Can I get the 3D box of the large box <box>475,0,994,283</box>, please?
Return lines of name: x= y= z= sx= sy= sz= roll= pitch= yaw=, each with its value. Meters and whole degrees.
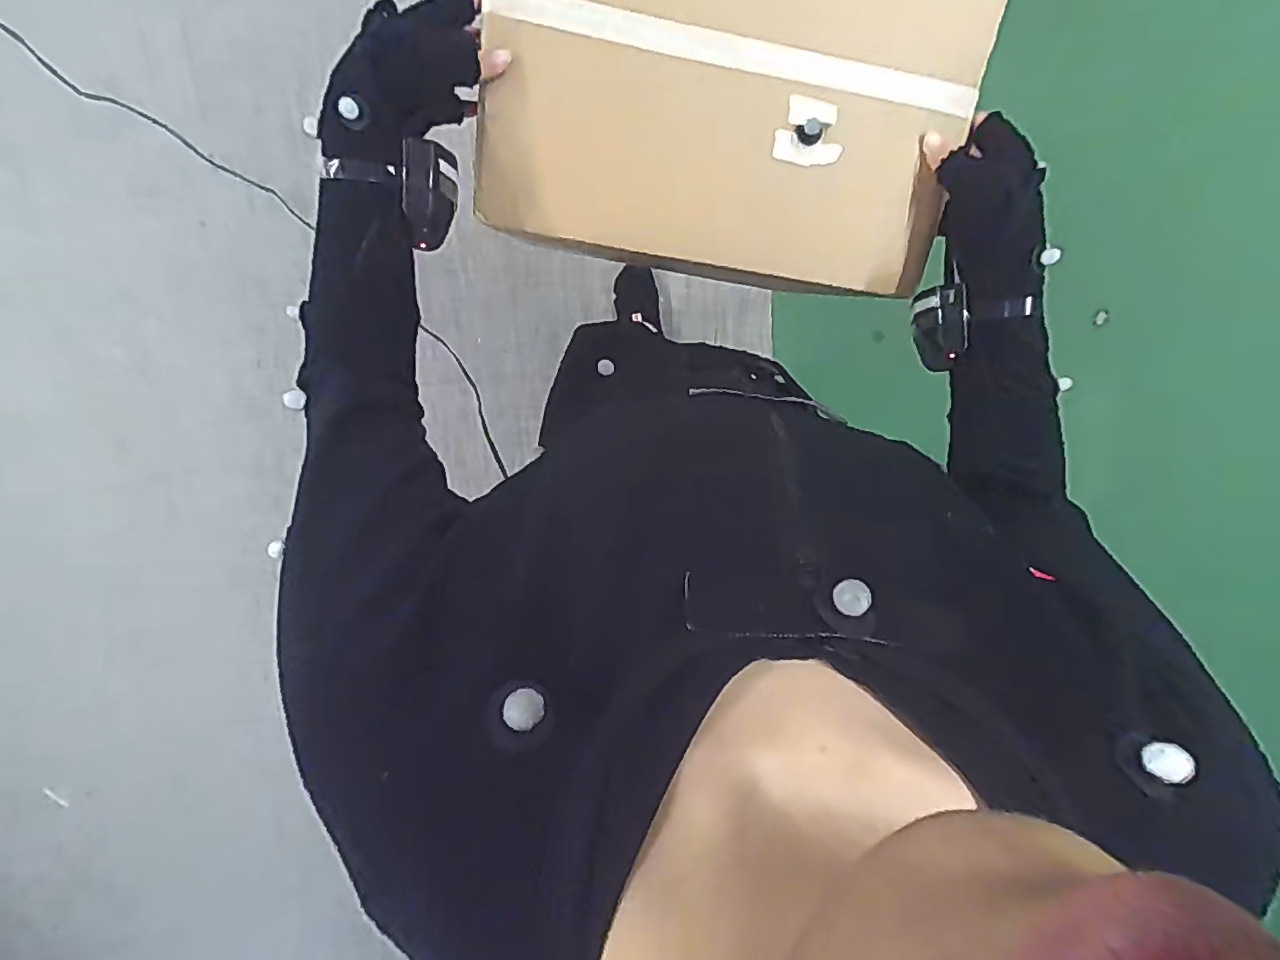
large box: x=0.064 y=-0.399 z=0.567 sx=0.408 sy=0.320 sz=0.320 roll=7 pitch=109 yaw=-7
